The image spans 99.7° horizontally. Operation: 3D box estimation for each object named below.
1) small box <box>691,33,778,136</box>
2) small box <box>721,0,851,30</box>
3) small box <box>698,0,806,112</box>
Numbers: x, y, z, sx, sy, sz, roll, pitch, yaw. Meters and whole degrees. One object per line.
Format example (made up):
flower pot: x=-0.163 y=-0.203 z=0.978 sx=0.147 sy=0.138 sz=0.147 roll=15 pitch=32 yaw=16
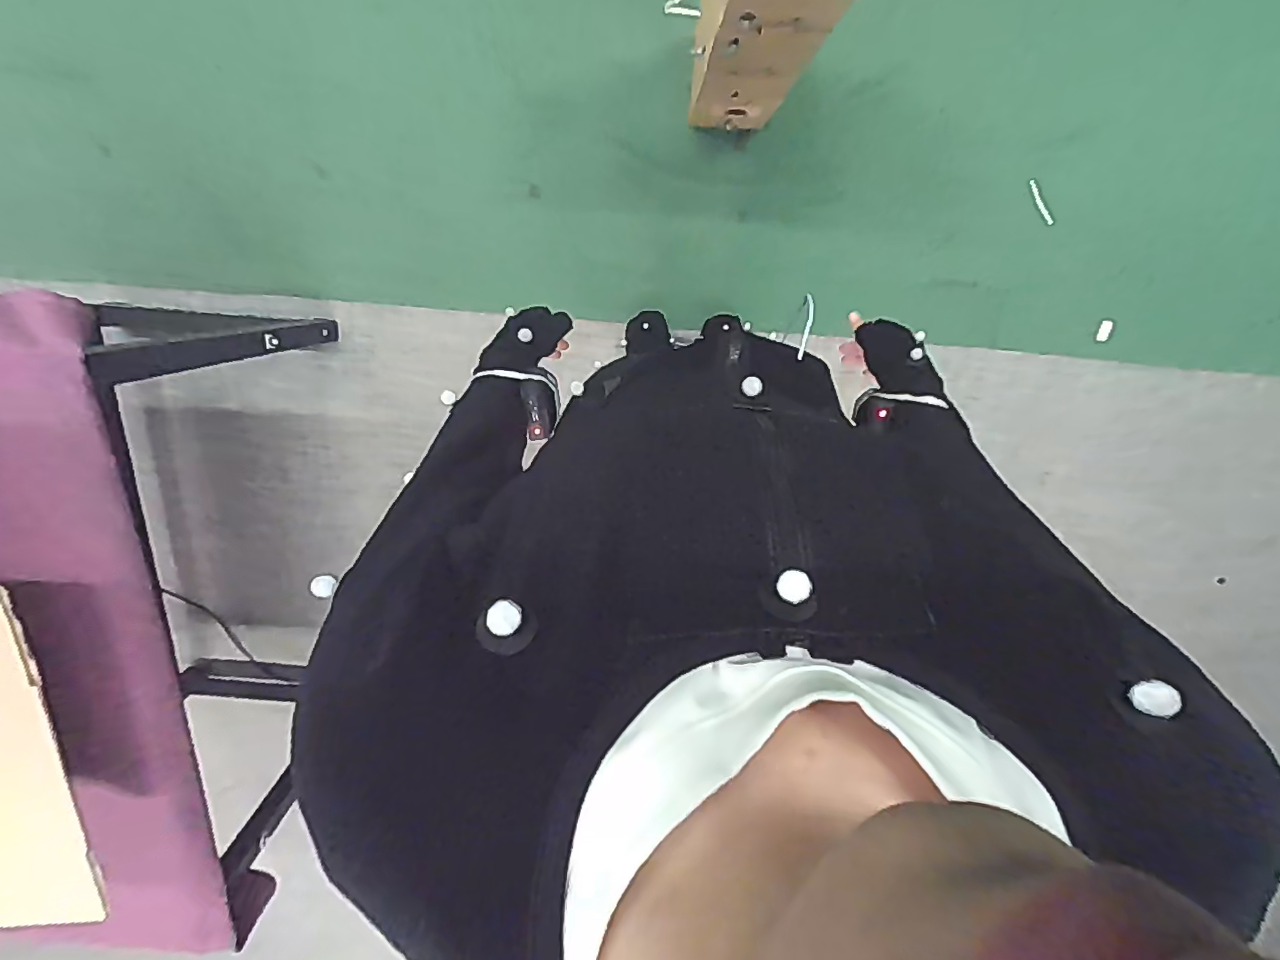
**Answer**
small box: x=0.199 y=-0.846 z=1.127 sx=0.168 sy=0.176 sz=0.179 roll=3 pitch=109 yaw=0
small box: x=0.194 y=-0.688 z=0.661 sx=0.168 sy=0.176 sz=0.179 roll=0 pitch=108 yaw=0
small box: x=0.196 y=-0.793 z=0.973 sx=0.168 sy=0.176 sz=0.179 roll=1 pitch=110 yaw=0
